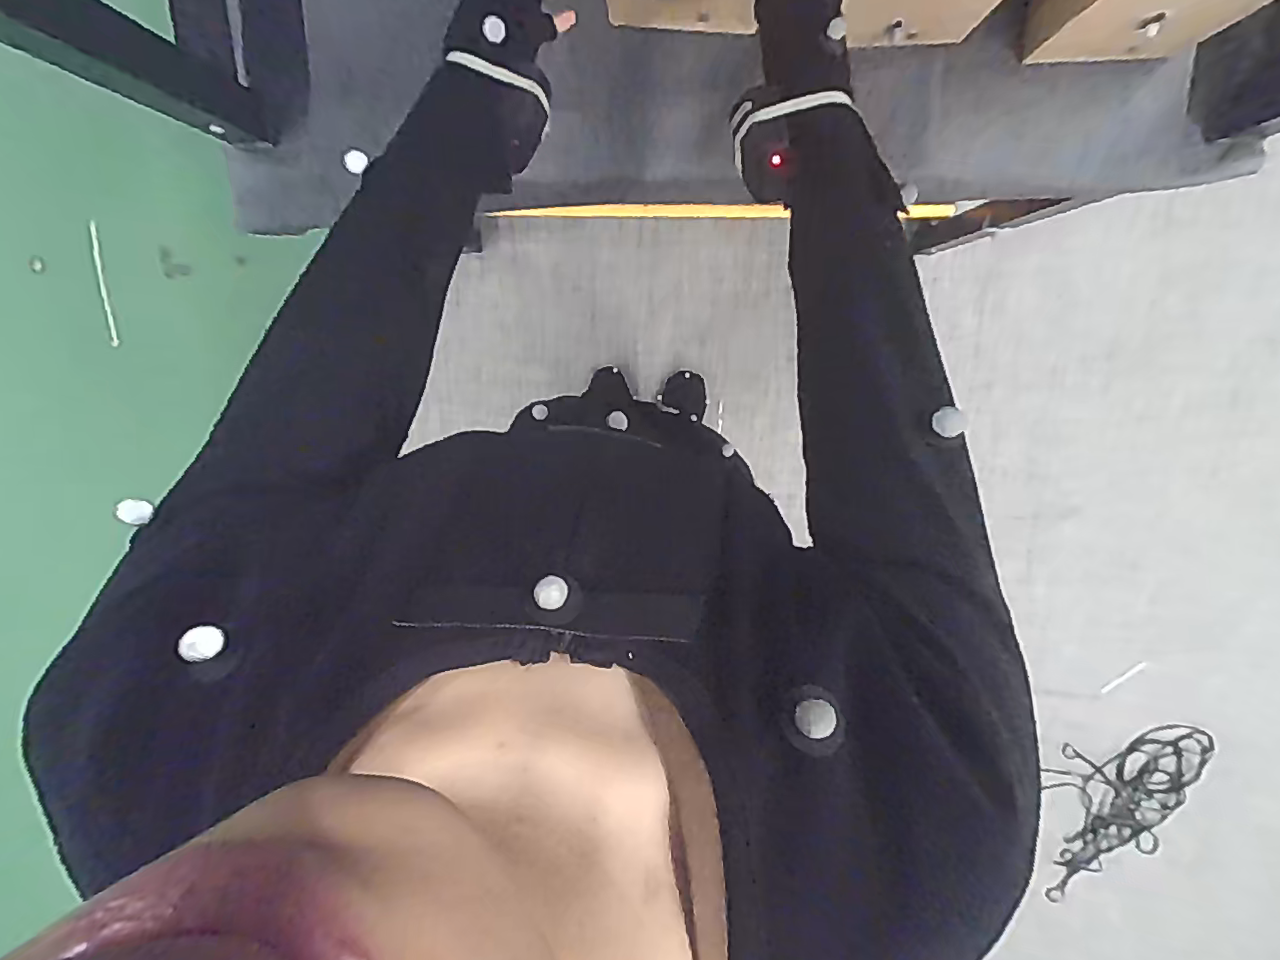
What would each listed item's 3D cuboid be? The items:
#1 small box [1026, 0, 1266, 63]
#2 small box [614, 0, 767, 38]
[{"bbox_3d":[0.502,-0.523,0.504,0.168,0.176,0.179,0,104,3],"label":"small box"},{"bbox_3d":[0.056,-0.567,0.518,0.168,0.176,0.179,5,104,1],"label":"small box"}]
